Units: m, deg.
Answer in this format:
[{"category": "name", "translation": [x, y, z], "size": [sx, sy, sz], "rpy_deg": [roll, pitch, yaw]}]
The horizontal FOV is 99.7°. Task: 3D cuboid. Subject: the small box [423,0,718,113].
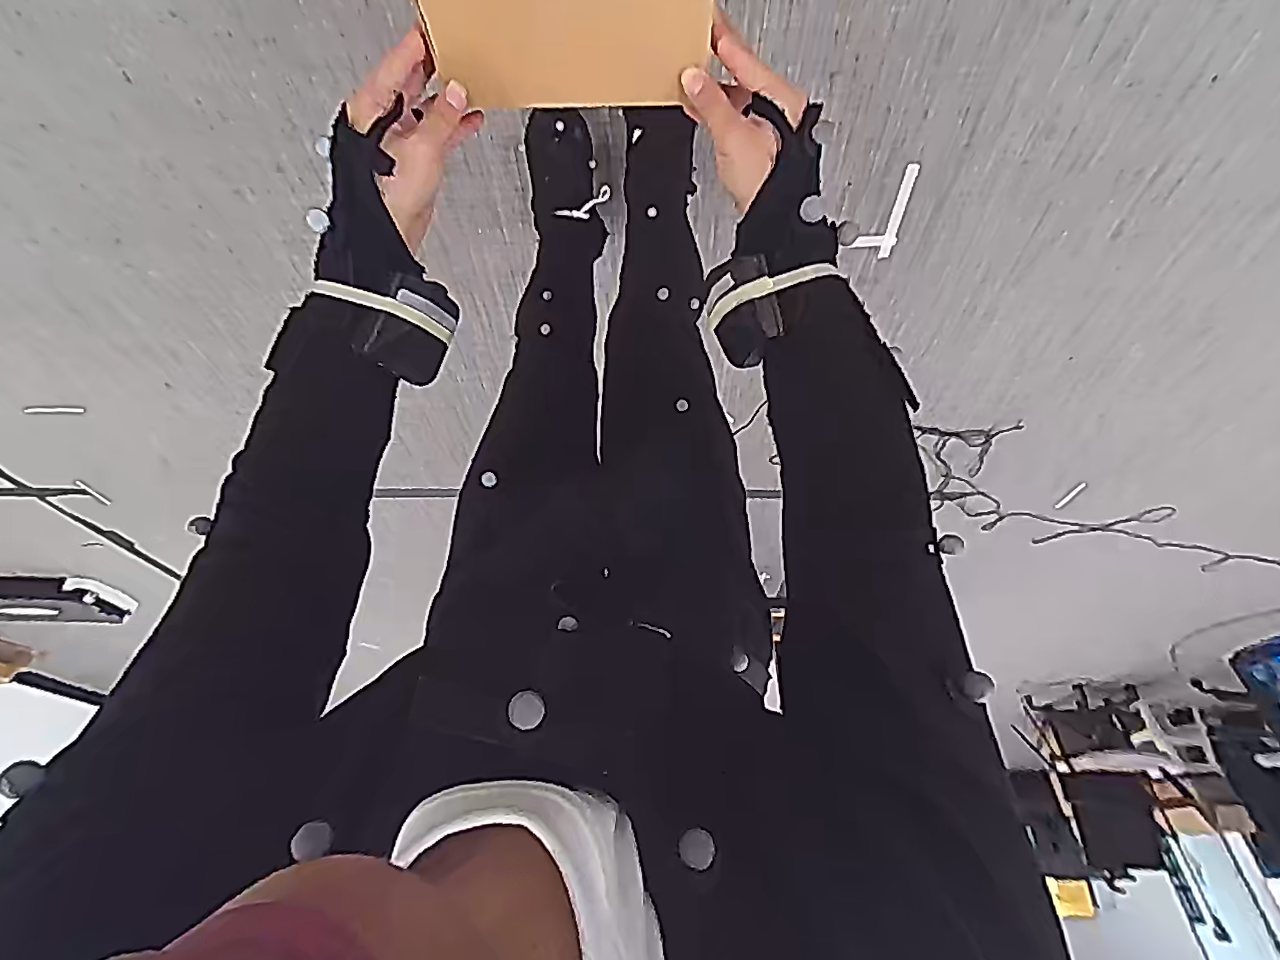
[{"category": "small box", "translation": [-0.042, -0.362, 0.334], "size": [0.179, 0.176, 0.168], "rpy_deg": [0, 153, 0]}]
